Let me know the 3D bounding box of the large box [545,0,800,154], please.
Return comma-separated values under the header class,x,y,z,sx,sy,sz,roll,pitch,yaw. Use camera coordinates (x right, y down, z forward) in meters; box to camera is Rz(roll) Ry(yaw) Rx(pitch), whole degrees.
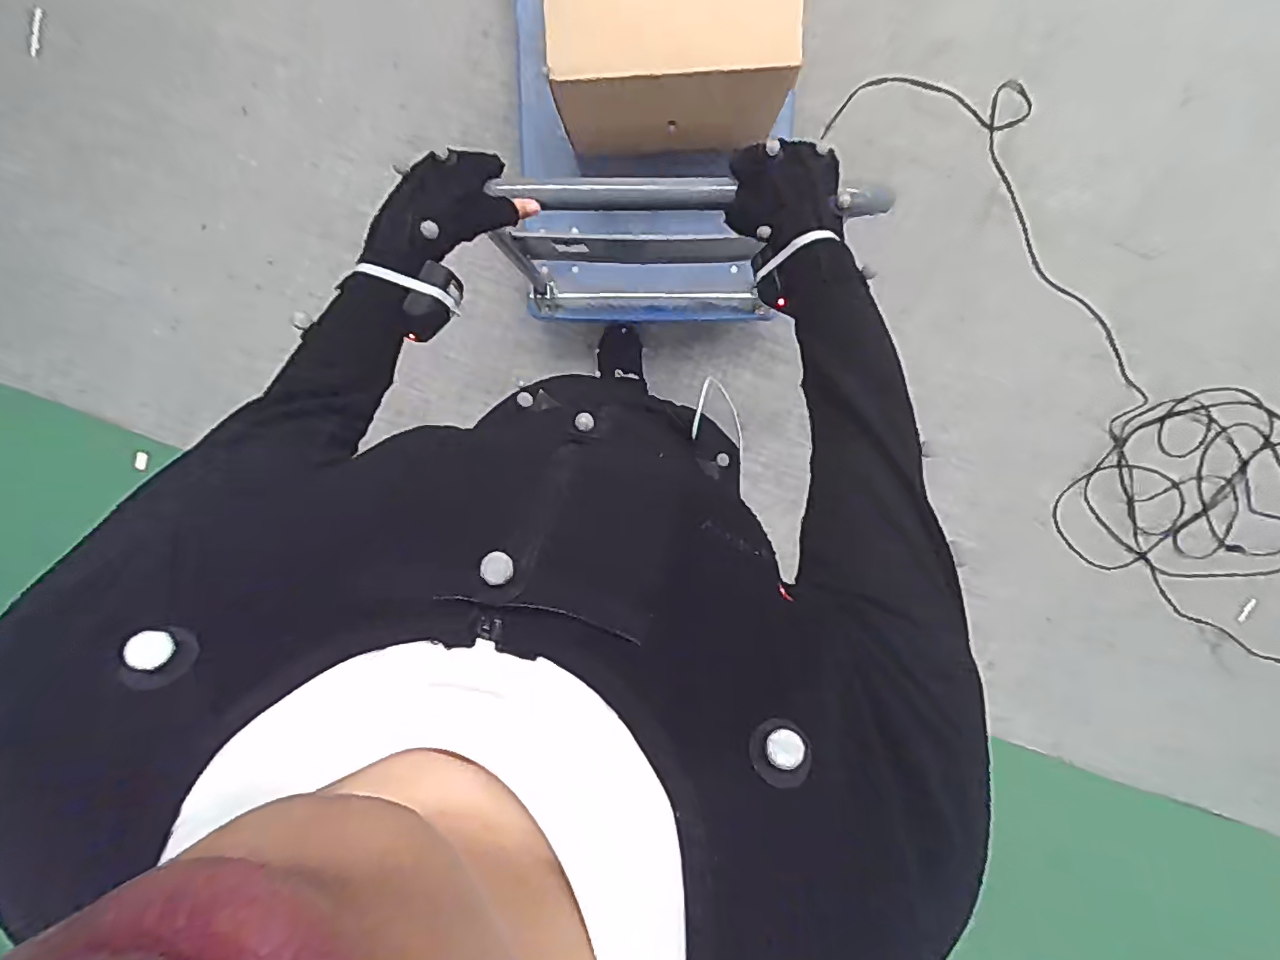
class,x,y,z,sx,sy,sz,roll,pitch,yaw
large box,0.052,-0.824,0.976,0.408,0.320,0.320,-3,101,2
